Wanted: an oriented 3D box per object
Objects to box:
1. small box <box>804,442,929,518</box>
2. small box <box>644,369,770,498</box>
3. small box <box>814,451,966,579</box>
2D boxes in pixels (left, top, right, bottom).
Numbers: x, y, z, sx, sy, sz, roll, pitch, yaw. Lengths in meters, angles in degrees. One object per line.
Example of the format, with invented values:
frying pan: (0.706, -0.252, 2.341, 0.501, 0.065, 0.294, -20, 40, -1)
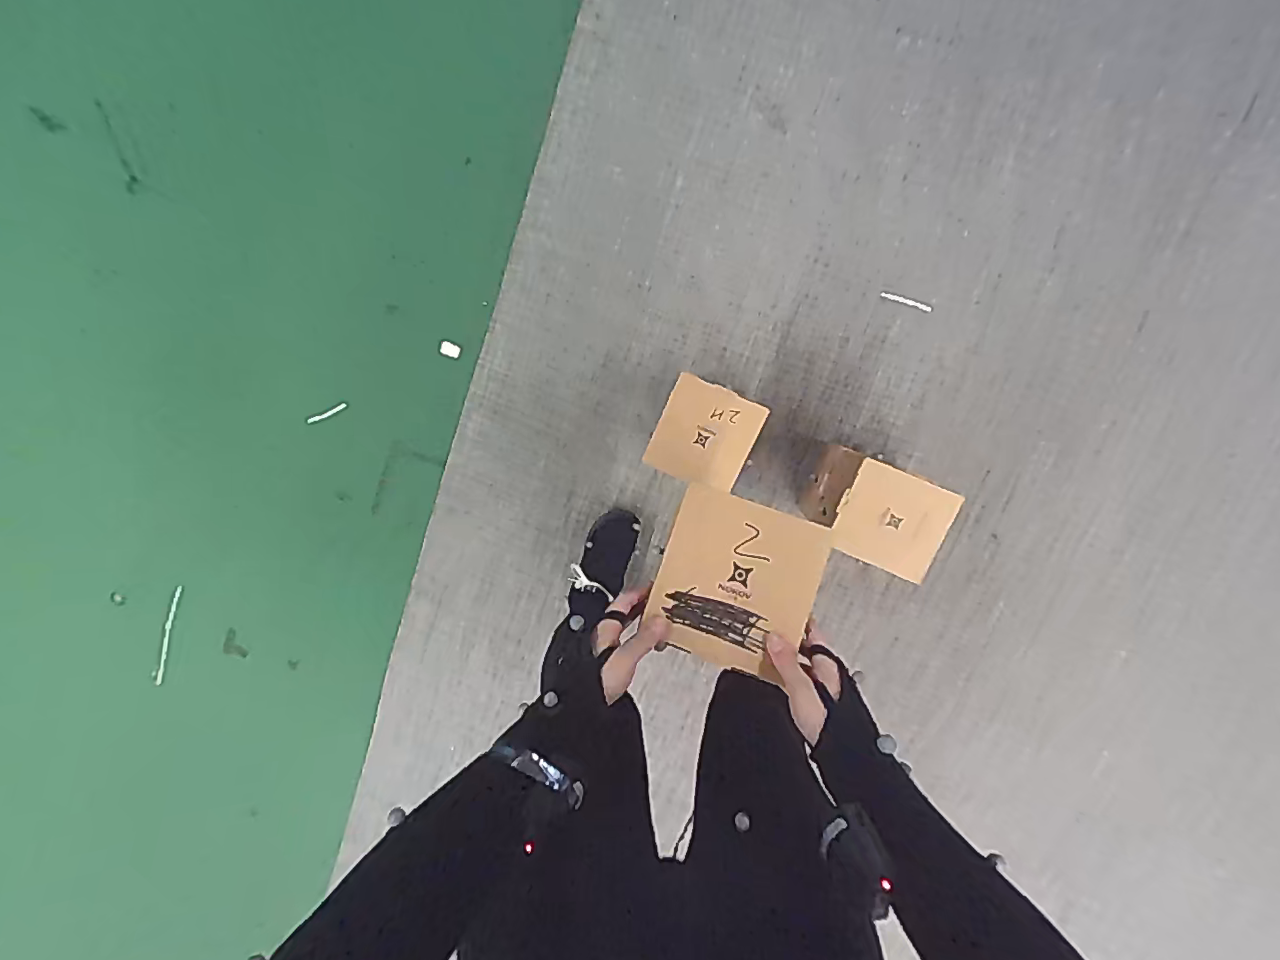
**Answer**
small box: (0.462, 0.024, 1.138, 0.179, 0.176, 0.168, 21, 100, 7)
small box: (0.126, -0.088, 1.009, 0.168, 0.176, 0.179, 25, 100, 4)
small box: (0.435, 0.053, 0.979, 0.179, 0.176, 0.168, 23, 100, 5)
